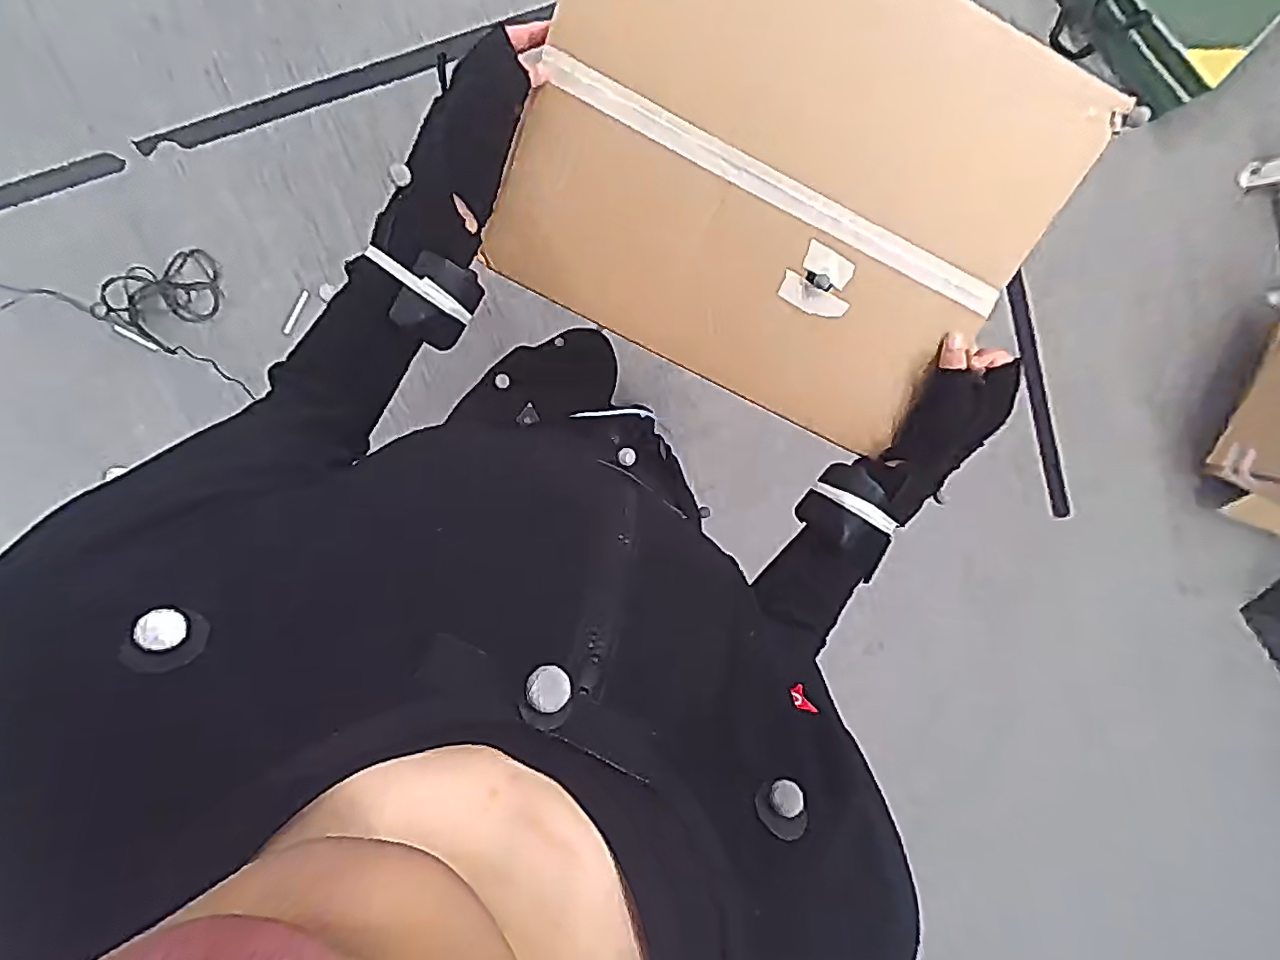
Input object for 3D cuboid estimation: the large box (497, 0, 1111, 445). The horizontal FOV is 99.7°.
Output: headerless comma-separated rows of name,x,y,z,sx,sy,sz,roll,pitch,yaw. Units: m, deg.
large box,0.122,-0.292,0.577,0.408,0.320,0.320,26,112,-6
